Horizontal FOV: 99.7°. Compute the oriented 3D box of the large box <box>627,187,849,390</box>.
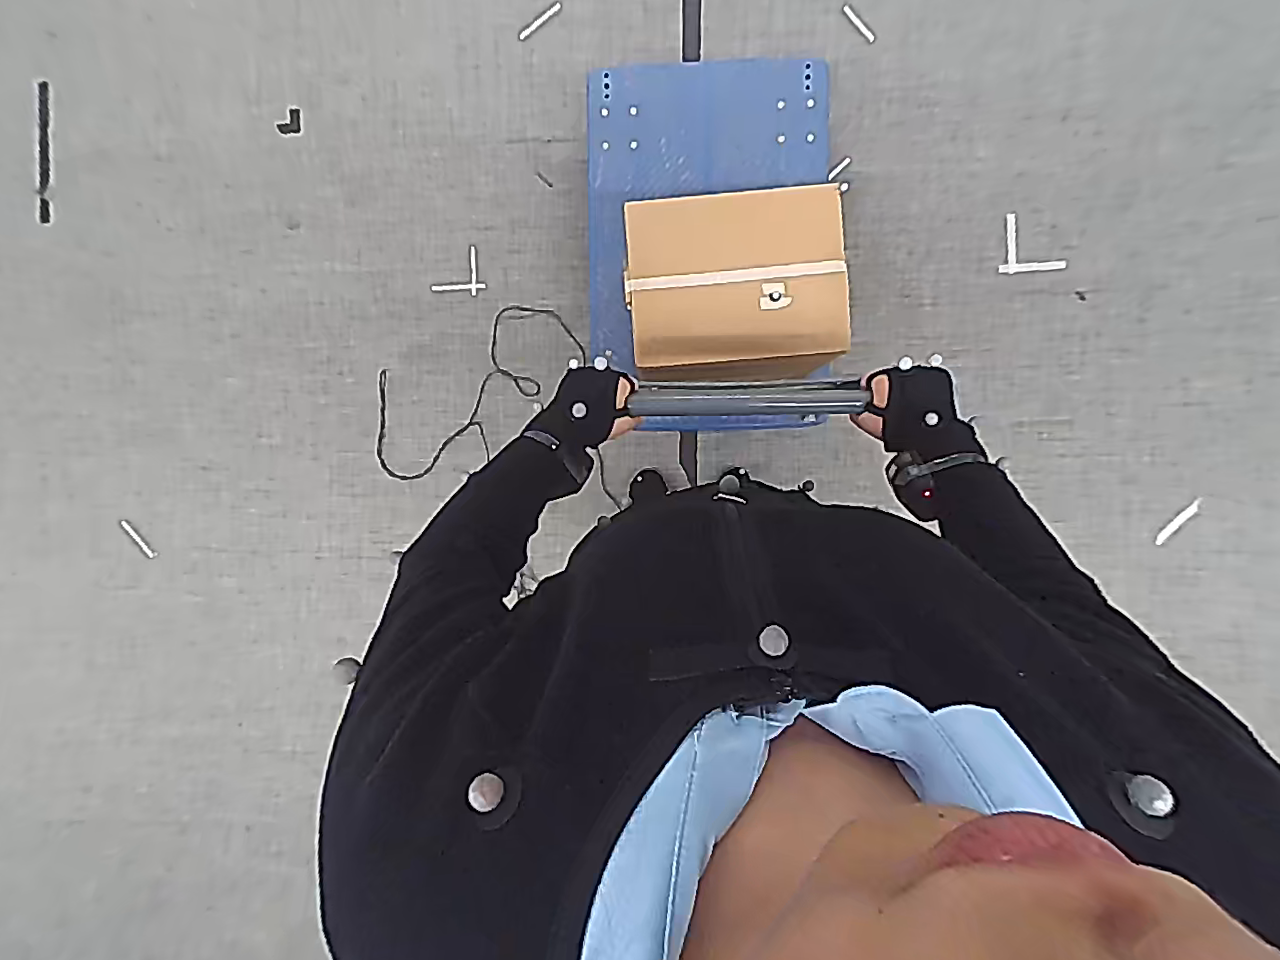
[{"bbox_3d":[0.188,-0.387,1.175,0.408,0.320,0.320,-4,92,1],"label":"large box"}]
